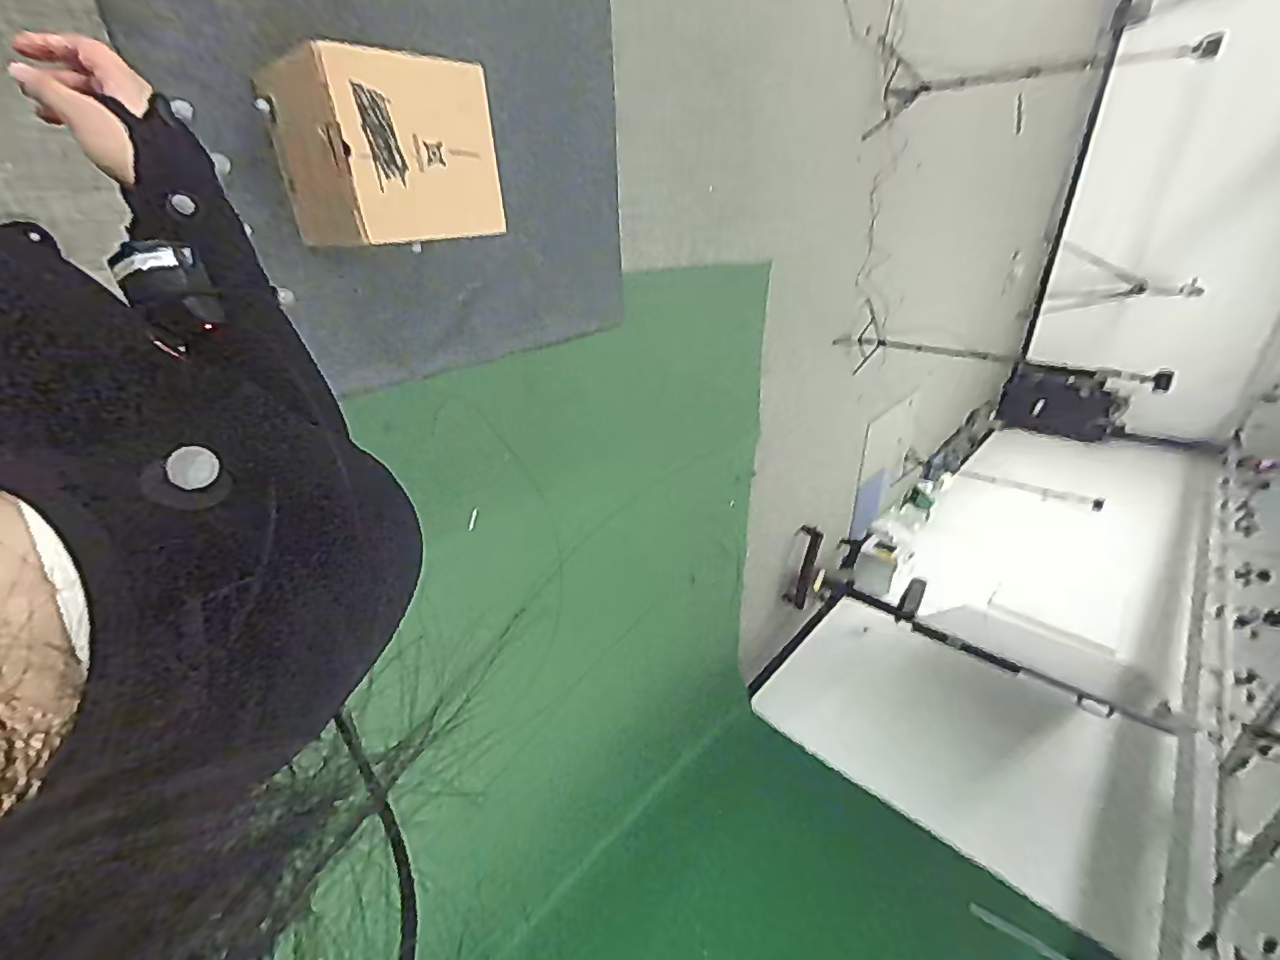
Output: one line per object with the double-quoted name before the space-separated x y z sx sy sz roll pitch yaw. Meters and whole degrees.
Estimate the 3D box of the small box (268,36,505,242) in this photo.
"small box" -0.284 -0.363 0.608 0.179 0.176 0.168 -30 127 -42
